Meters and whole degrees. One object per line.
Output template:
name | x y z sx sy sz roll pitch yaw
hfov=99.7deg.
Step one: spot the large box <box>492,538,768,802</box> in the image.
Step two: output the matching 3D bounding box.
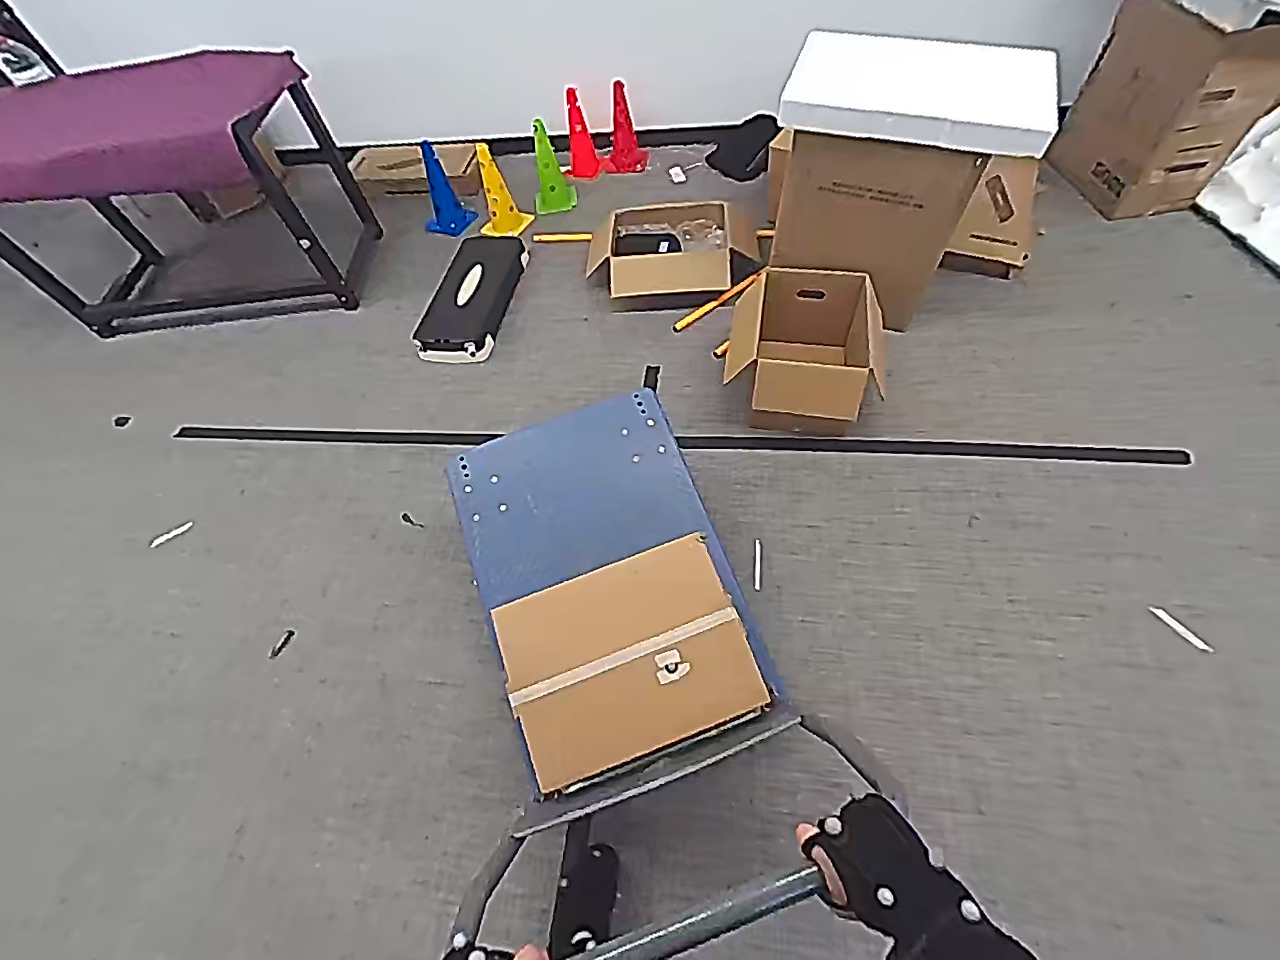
large box | -0.021 0.359 1.063 0.408 0.320 0.320 -21 73 -5
